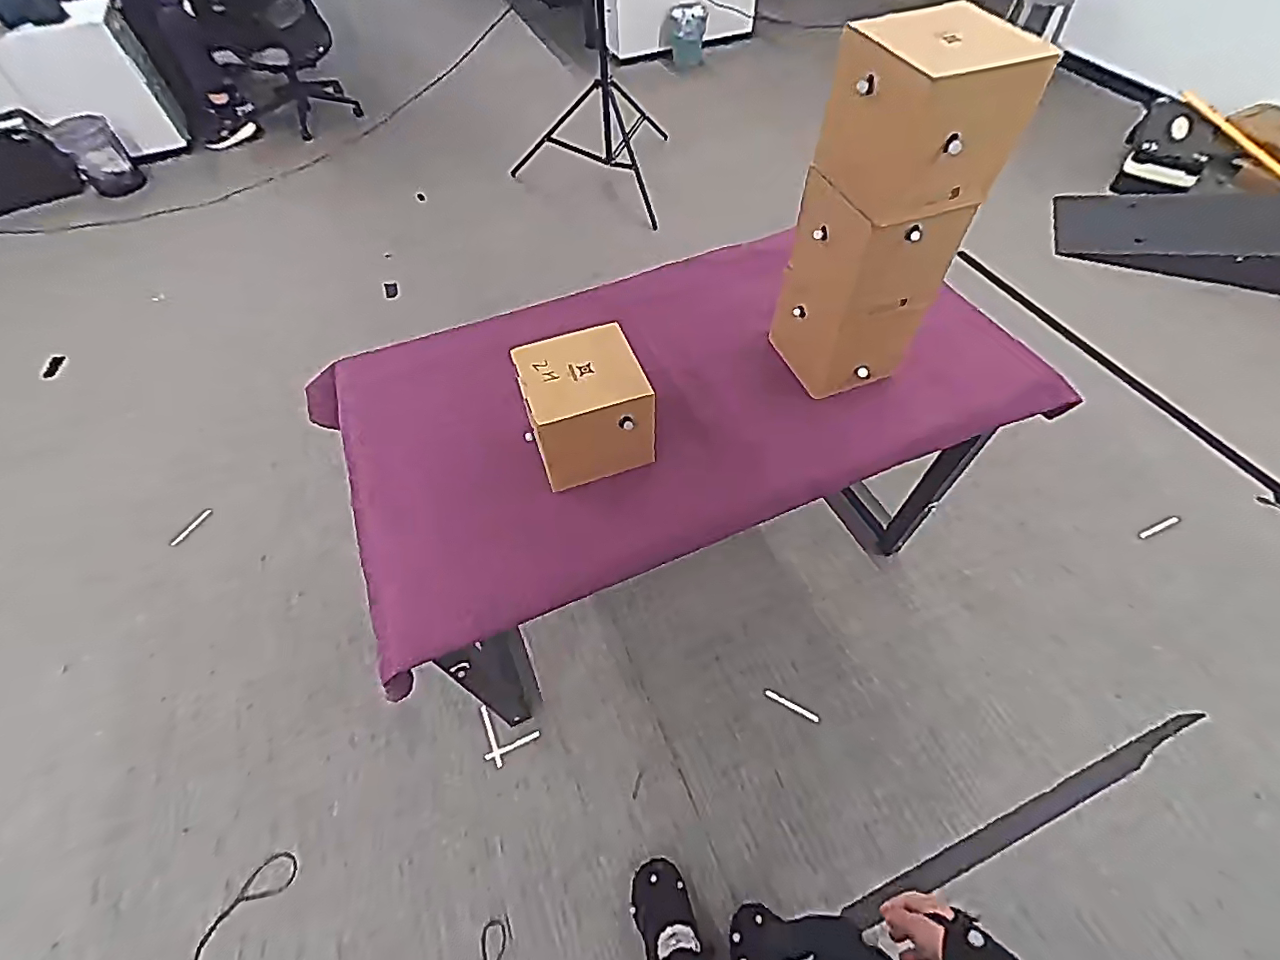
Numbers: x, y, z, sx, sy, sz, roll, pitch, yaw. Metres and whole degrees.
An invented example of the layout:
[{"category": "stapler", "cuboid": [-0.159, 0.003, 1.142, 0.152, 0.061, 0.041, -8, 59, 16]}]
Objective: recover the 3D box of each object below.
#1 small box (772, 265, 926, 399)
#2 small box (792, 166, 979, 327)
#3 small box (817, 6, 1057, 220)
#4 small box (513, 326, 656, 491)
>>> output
[{"category": "small box", "cuboid": [0.353, -0.275, 0.954, 0.168, 0.176, 0.179, -19, 58, -10]}, {"category": "small box", "cuboid": [0.351, -0.363, 0.816, 0.168, 0.176, 0.179, -17, 56, -8]}, {"category": "small box", "cuboid": [0.349, -0.449, 0.677, 0.168, 0.176, 0.179, -17, 57, -9]}, {"category": "small box", "cuboid": [-0.083, -0.109, 0.856, 0.179, 0.176, 0.168, -18, 57, -10]}]
